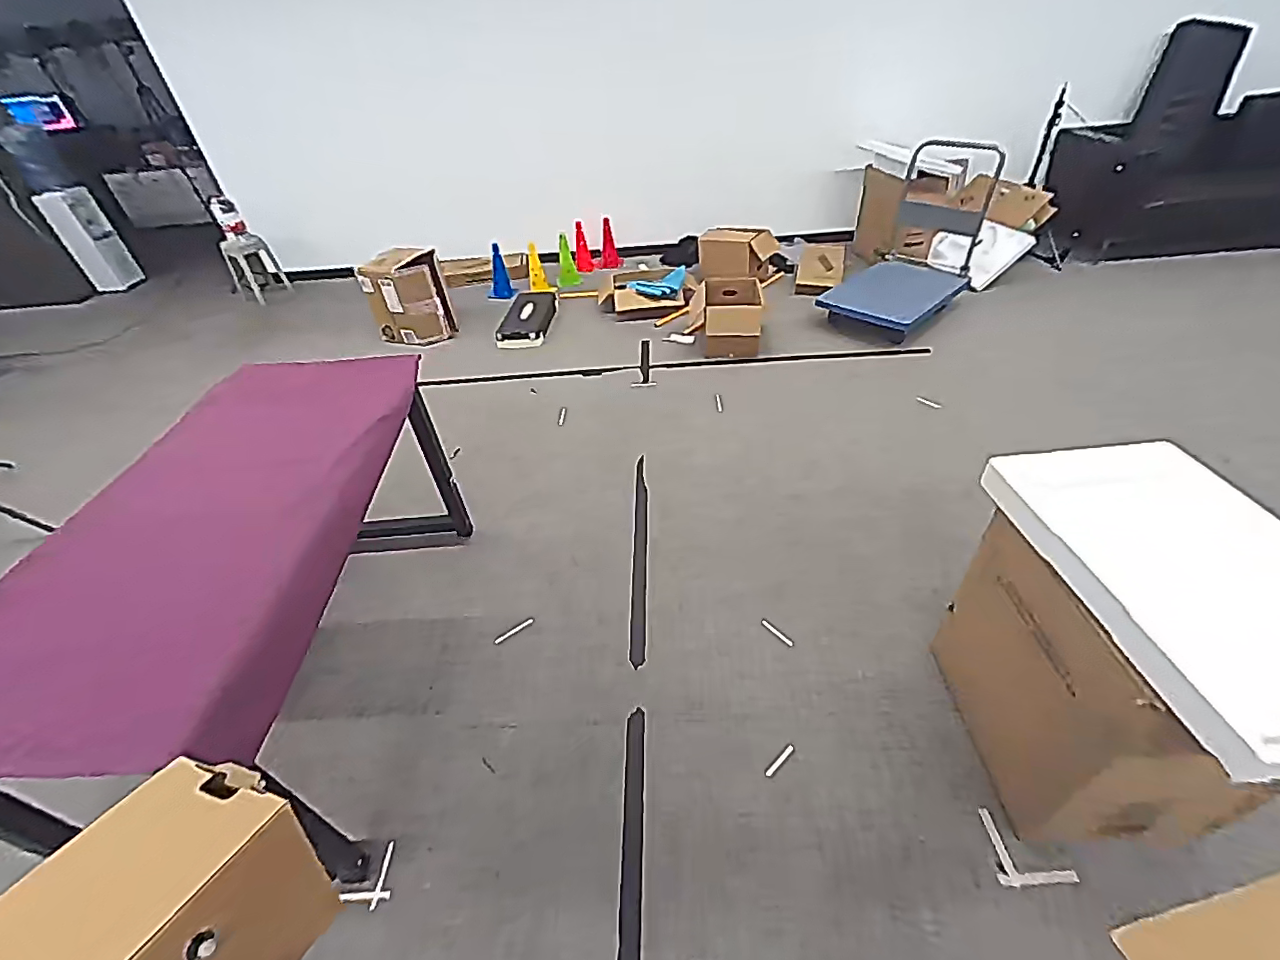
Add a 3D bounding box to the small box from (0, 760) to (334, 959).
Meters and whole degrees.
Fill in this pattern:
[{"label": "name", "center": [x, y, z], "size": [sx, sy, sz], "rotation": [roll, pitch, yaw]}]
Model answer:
[{"label": "small box", "center": [-0.424, 0.405, 0.494], "size": [0.168, 0.176, 0.179], "rotation": [5, 25, 21]}]
